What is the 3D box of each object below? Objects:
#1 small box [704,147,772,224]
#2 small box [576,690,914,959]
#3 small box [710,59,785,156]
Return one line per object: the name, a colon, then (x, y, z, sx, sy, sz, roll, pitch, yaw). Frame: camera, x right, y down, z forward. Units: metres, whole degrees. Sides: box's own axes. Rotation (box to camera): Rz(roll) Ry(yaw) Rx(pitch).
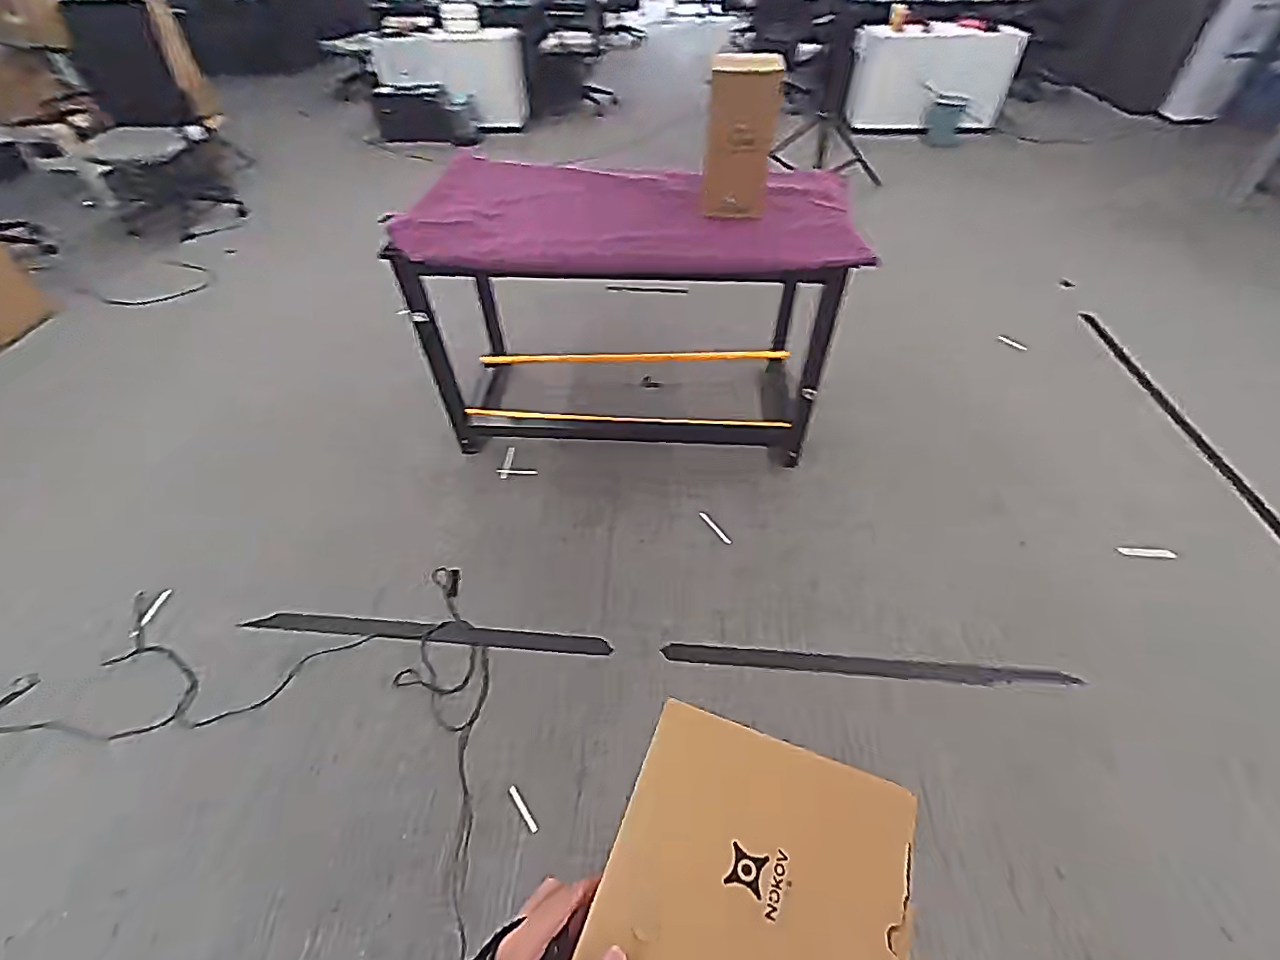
small box: (0.266, -0.828, 1.486, 0.168, 0.176, 0.179, 5, 49, 6)
small box: (0.077, 0.287, 0.391, 0.179, 0.176, 0.168, 14, 51, 17)
small box: (0.266, -0.939, 1.363, 0.168, 0.176, 0.179, 4, 48, 7)
